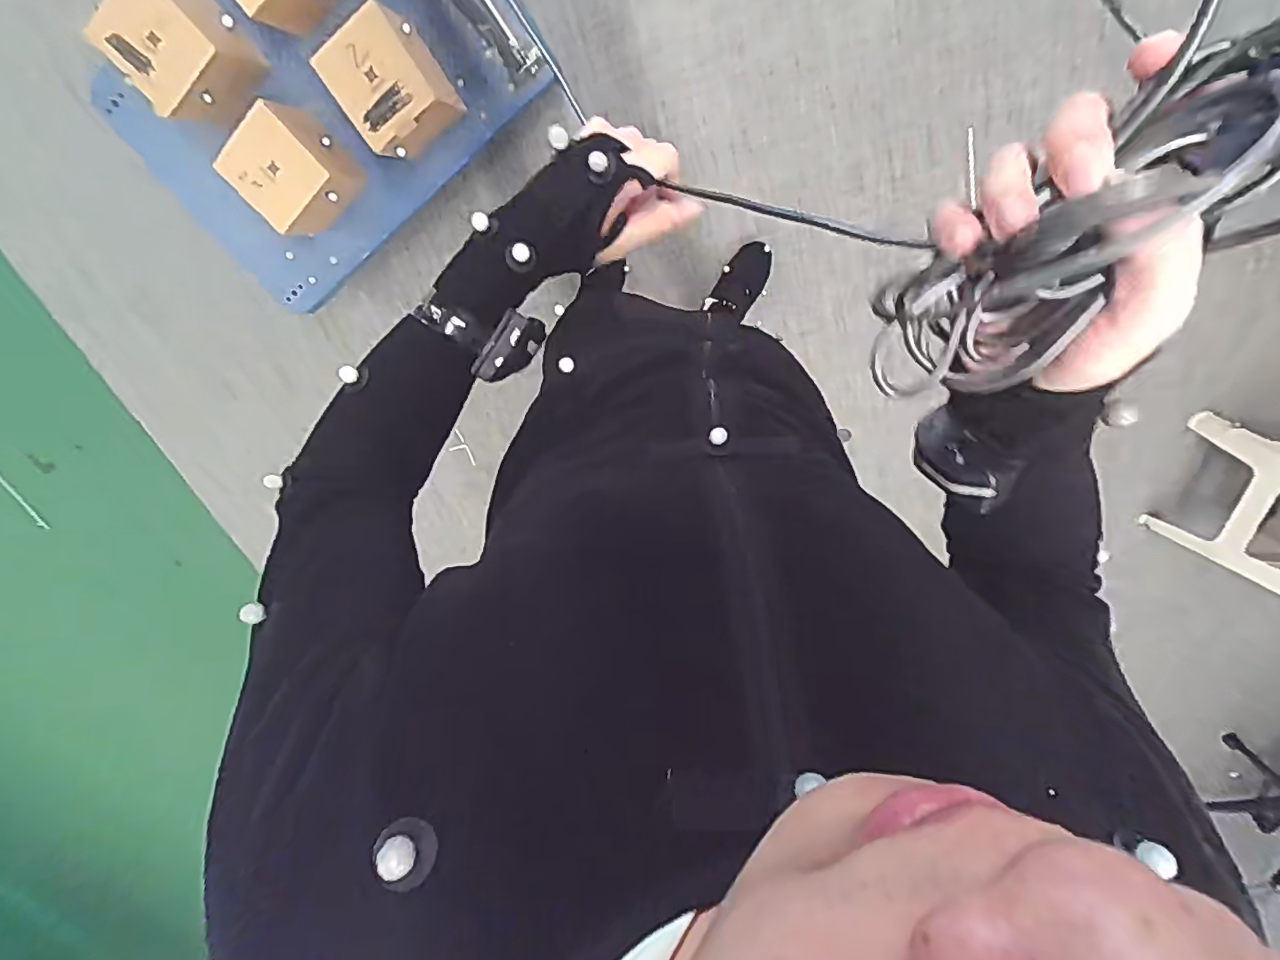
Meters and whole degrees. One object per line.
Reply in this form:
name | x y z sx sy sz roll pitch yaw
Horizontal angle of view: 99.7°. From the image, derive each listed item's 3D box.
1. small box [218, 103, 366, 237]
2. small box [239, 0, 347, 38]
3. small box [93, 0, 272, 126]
small box | -0.715 -0.643 1.137 0.179 0.176 0.168 -35 110 19
small box | -0.651 -0.952 0.974 0.179 0.176 0.168 -30 112 18
small box | -0.872 -0.827 1.051 0.179 0.176 0.168 -33 111 18
